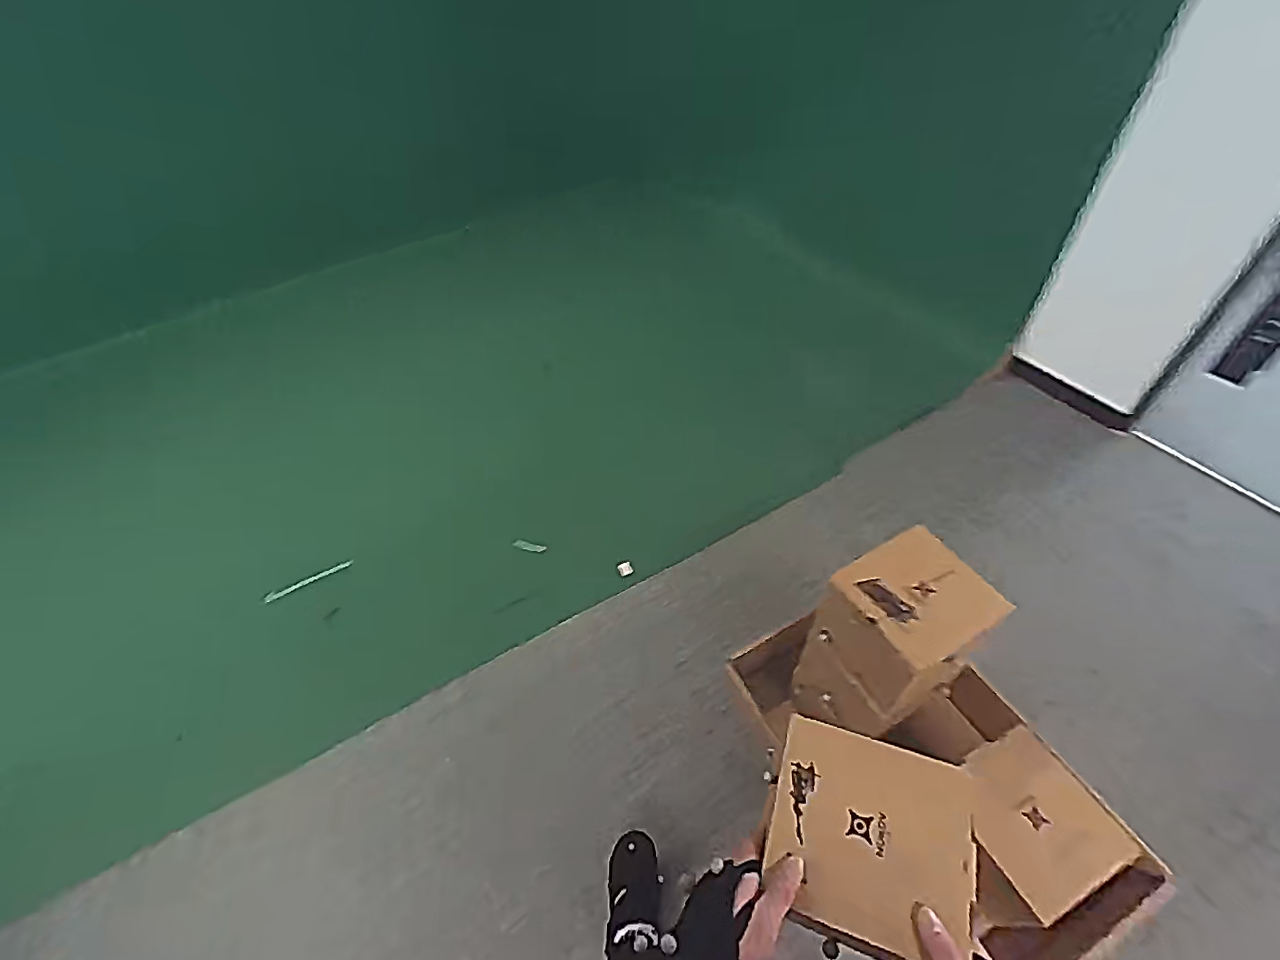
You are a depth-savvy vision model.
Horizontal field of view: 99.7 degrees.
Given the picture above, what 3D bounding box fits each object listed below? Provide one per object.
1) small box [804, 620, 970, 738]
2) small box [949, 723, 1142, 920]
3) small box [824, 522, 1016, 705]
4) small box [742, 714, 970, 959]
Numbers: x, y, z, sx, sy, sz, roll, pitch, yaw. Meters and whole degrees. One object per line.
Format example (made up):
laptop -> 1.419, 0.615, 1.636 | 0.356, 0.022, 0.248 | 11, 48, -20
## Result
small box -> 0.405, 0.311, 0.922 | 0.179, 0.176, 0.168 | -24, 52, -13
small box -> 0.522, 0.484, 0.766 | 0.168, 0.176, 0.179 | -24, 52, -11
small box -> 0.393, 0.201, 0.799 | 0.179, 0.176, 0.168 | -25, 52, -15
small box -> 0.213, 0.372, 0.559 | 0.179, 0.176, 0.168 | 13, 53, 15
